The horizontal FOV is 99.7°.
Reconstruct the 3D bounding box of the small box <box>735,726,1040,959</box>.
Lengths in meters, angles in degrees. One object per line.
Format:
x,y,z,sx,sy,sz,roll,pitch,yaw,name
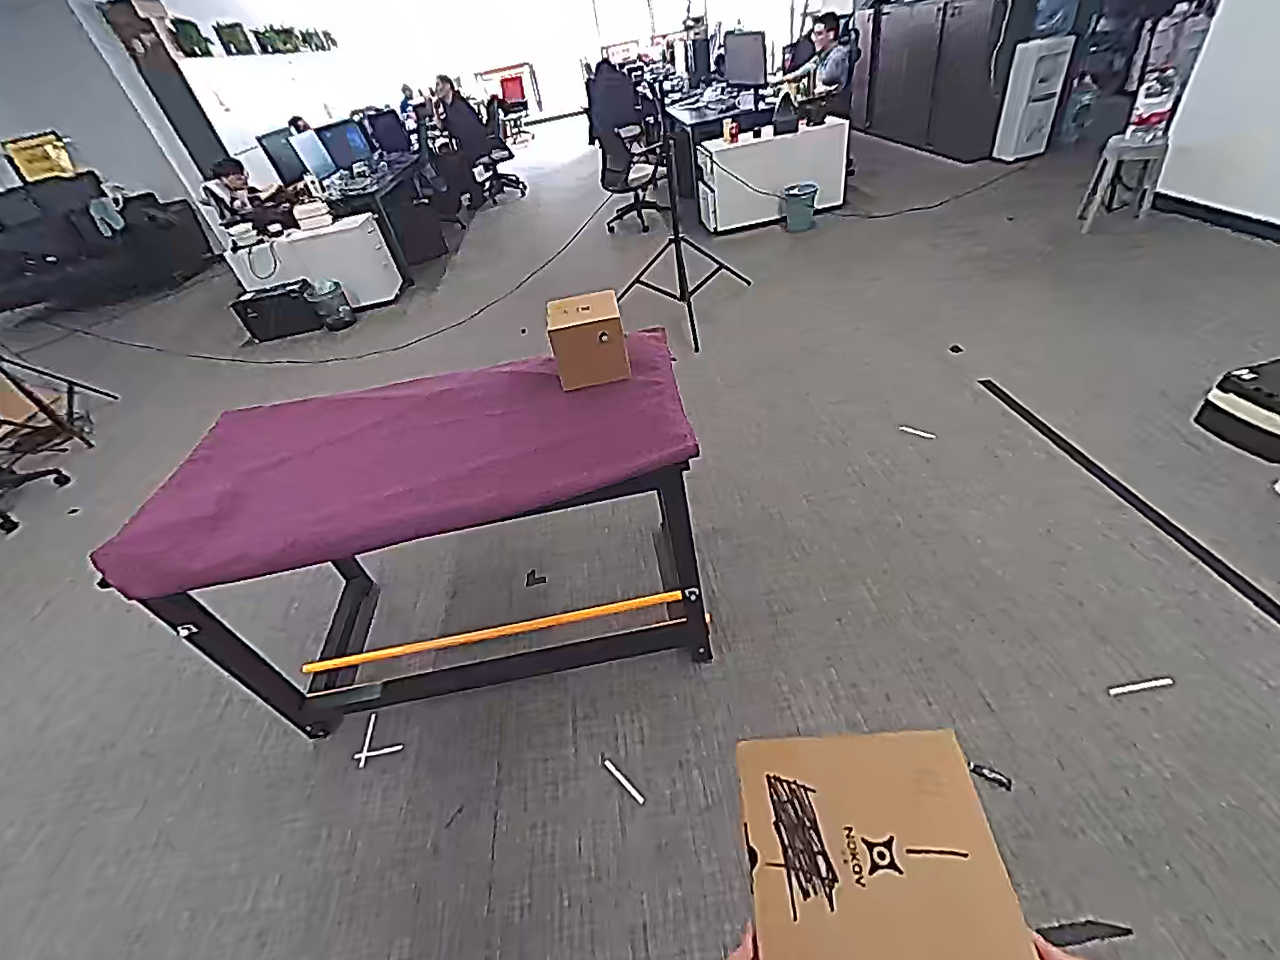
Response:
0.181,0.321,0.443,0.179,0.176,0.168,-9,45,9,small box

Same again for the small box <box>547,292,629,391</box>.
-0.127,-0.347,1.360,0.179,0.176,0.168,-12,41,1,small box
